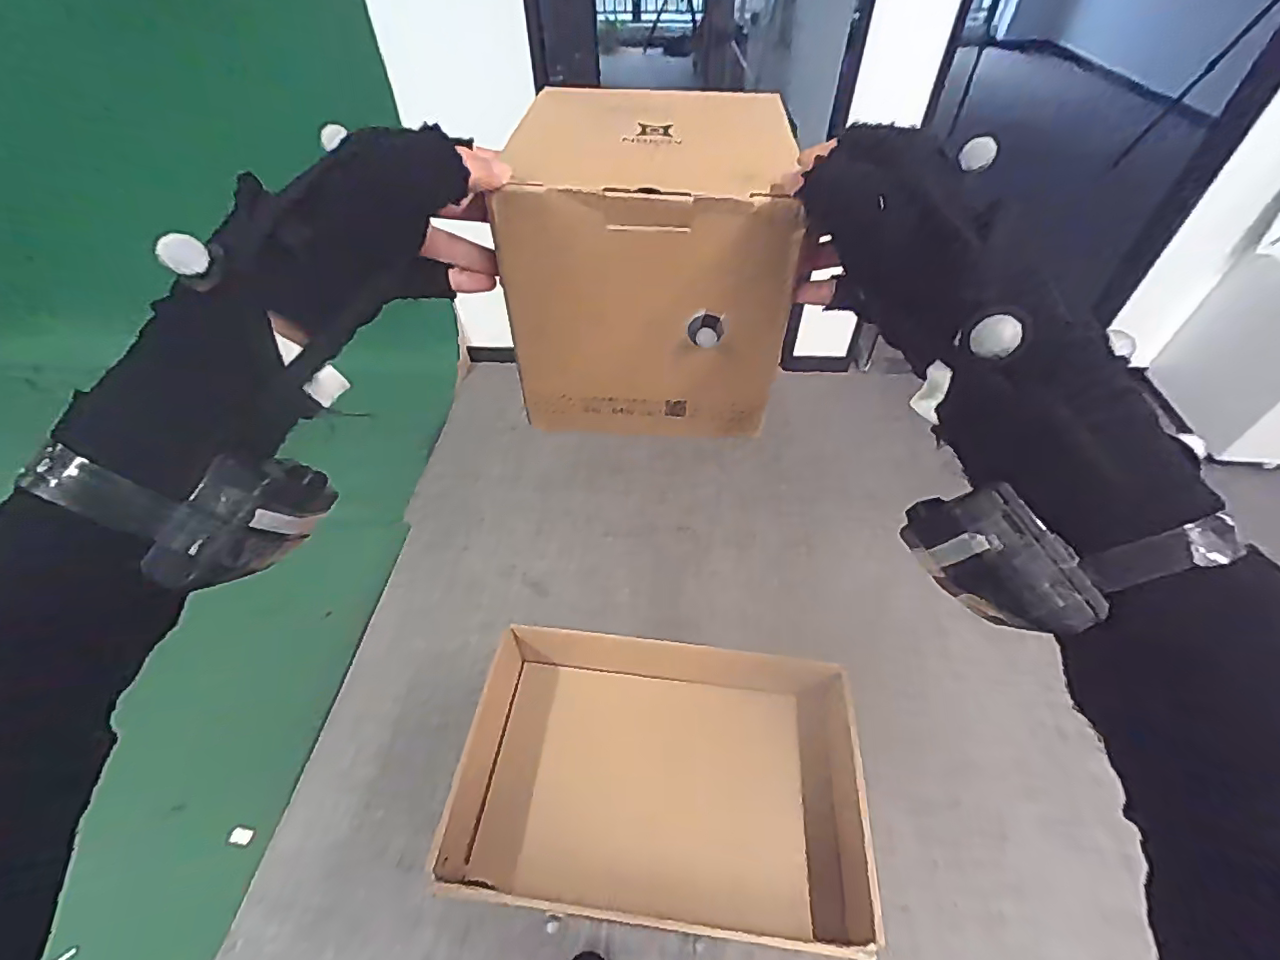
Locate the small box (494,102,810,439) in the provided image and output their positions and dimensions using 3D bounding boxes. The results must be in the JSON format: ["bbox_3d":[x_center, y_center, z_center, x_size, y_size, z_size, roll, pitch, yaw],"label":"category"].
[{"bbox_3d":[0.010,-0.146,0.386,0.168,0.176,0.179,3,48,1],"label":"small box"}]
